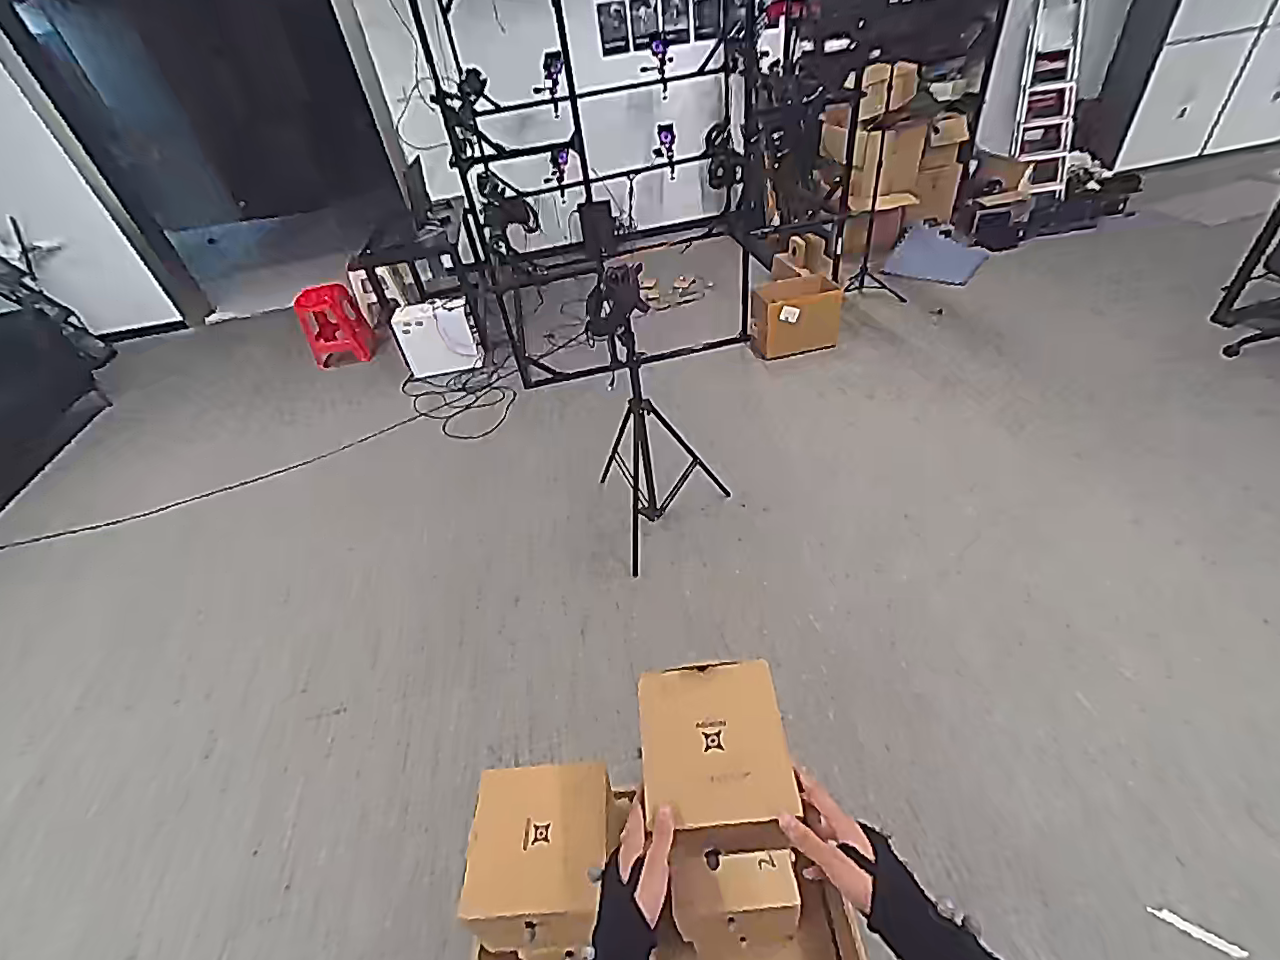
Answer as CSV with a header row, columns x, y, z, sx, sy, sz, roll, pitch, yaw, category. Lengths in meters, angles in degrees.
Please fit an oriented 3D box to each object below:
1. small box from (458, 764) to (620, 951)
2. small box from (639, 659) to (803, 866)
x,y,z,sx,sy,sz,roll,pitch,yaw,category
-0.119,0.506,0.726,0.179,0.176,0.168,-6,39,1,small box
0.091,0.349,0.670,0.168,0.176,0.179,-8,44,2,small box
